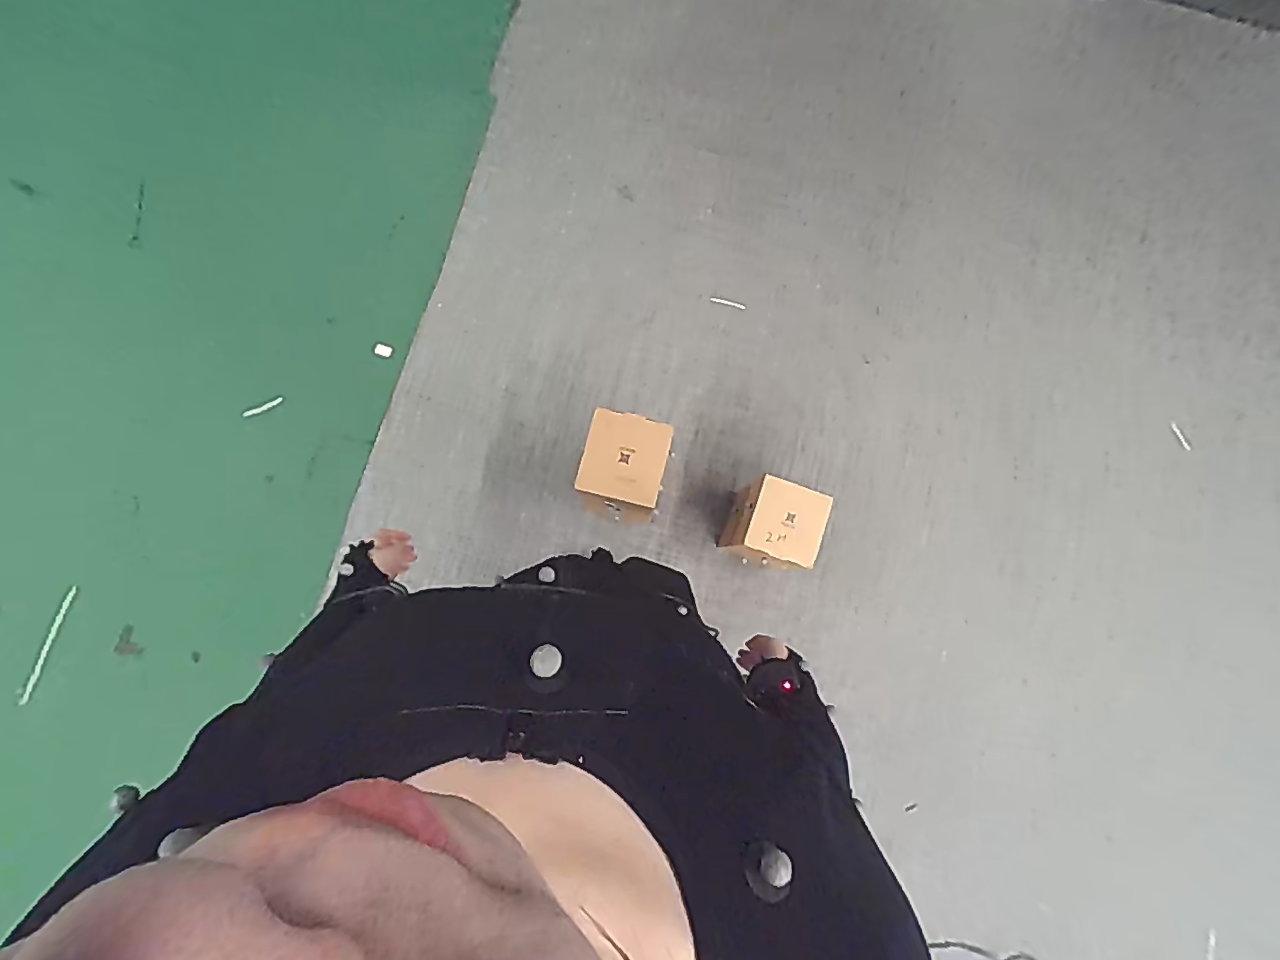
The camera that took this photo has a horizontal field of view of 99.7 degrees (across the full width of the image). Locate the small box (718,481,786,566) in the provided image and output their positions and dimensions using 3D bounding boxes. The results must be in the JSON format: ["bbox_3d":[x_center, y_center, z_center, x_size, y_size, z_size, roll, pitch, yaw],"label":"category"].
[{"bbox_3d":[0.322,0.120,1.468,0.168,0.176,0.179,21,83,1],"label":"small box"}]

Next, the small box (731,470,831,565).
[{"bbox_3d":[0.331,0.095,1.305,0.168,0.176,0.179,20,82,1],"label":"small box"}]

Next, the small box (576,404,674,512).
[{"bbox_3d":[-0.031,-0.039,1.148,0.168,0.176,0.179,13,82,2],"label":"small box"}]
